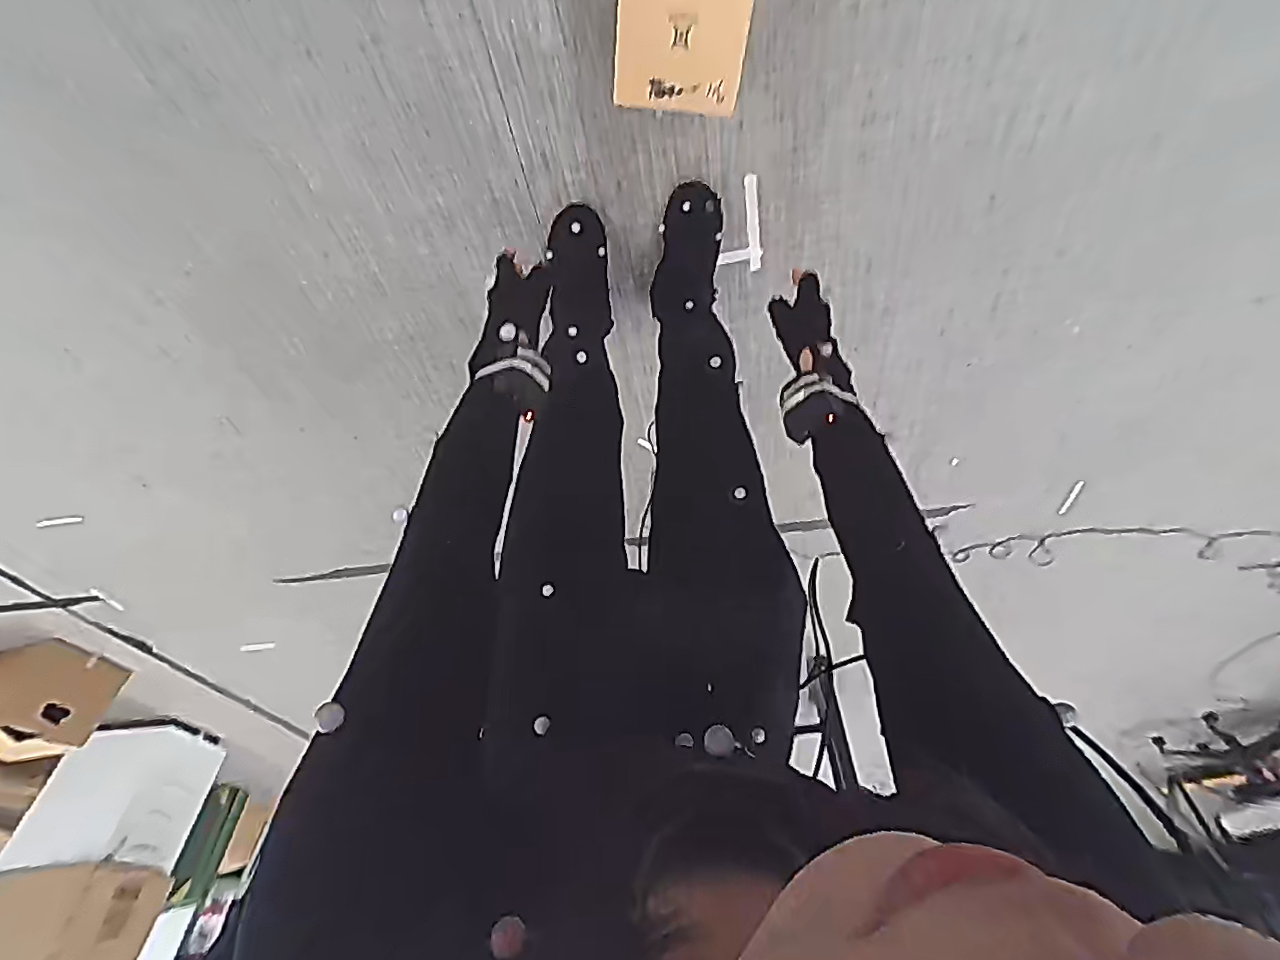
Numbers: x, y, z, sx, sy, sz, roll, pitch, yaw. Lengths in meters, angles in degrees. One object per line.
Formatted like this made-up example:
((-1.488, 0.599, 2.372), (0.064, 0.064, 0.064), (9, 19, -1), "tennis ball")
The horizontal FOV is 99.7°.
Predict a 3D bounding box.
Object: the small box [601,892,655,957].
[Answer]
((-0.040, 1.614, 1.962), (0.168, 0.176, 0.179), (-9, 135, 6), "small box")

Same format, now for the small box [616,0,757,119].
((0.055, -0.617, 0.729), (0.168, 0.176, 0.179), (3, 135, -5), "small box")
